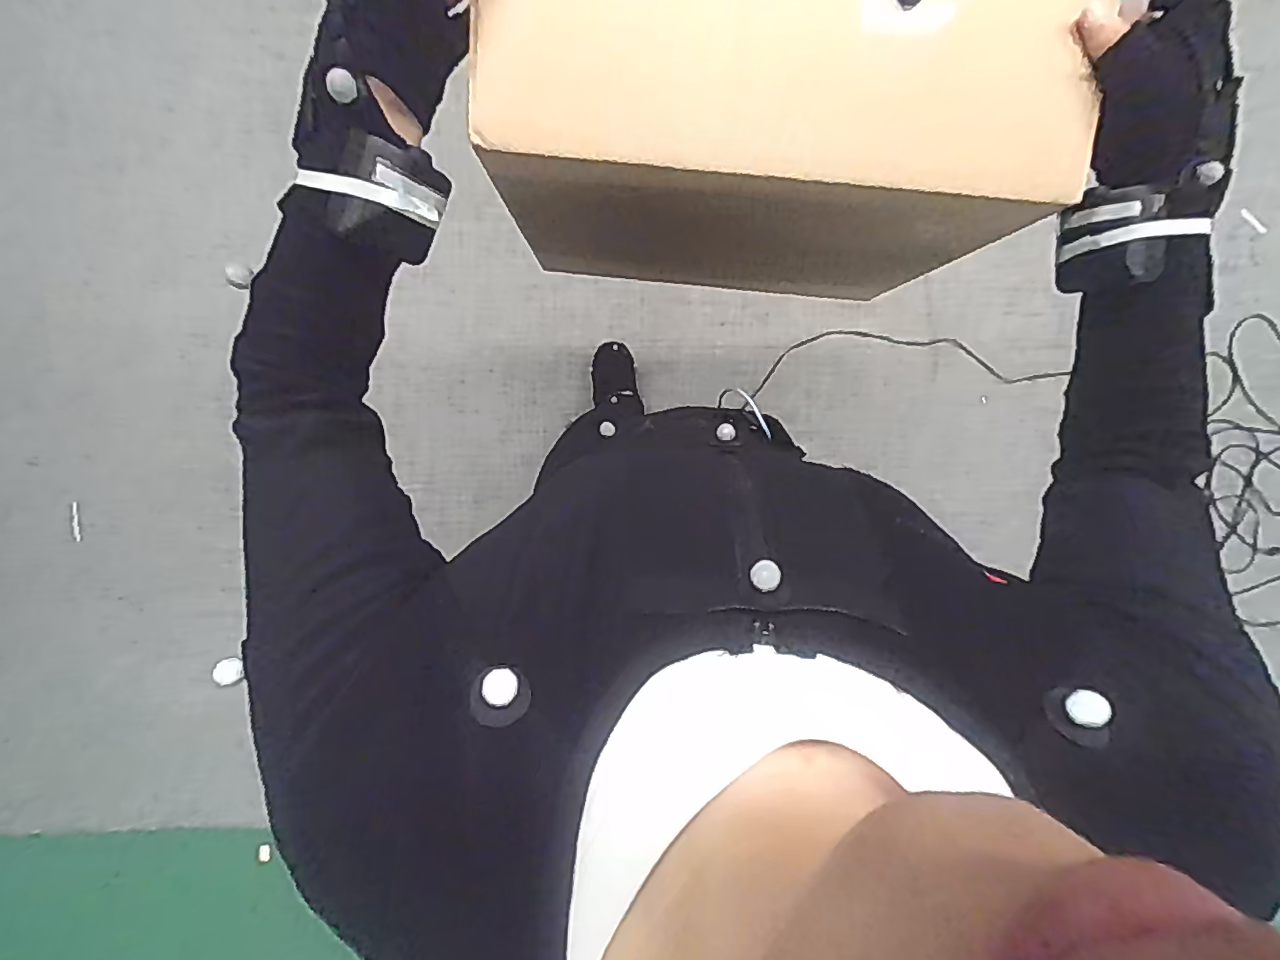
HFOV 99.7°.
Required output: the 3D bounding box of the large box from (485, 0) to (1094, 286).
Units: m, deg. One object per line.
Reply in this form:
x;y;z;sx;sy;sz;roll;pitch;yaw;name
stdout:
0.097;-0.380;0.493;0.408;0.320;0.320;4;98;-2;large box
